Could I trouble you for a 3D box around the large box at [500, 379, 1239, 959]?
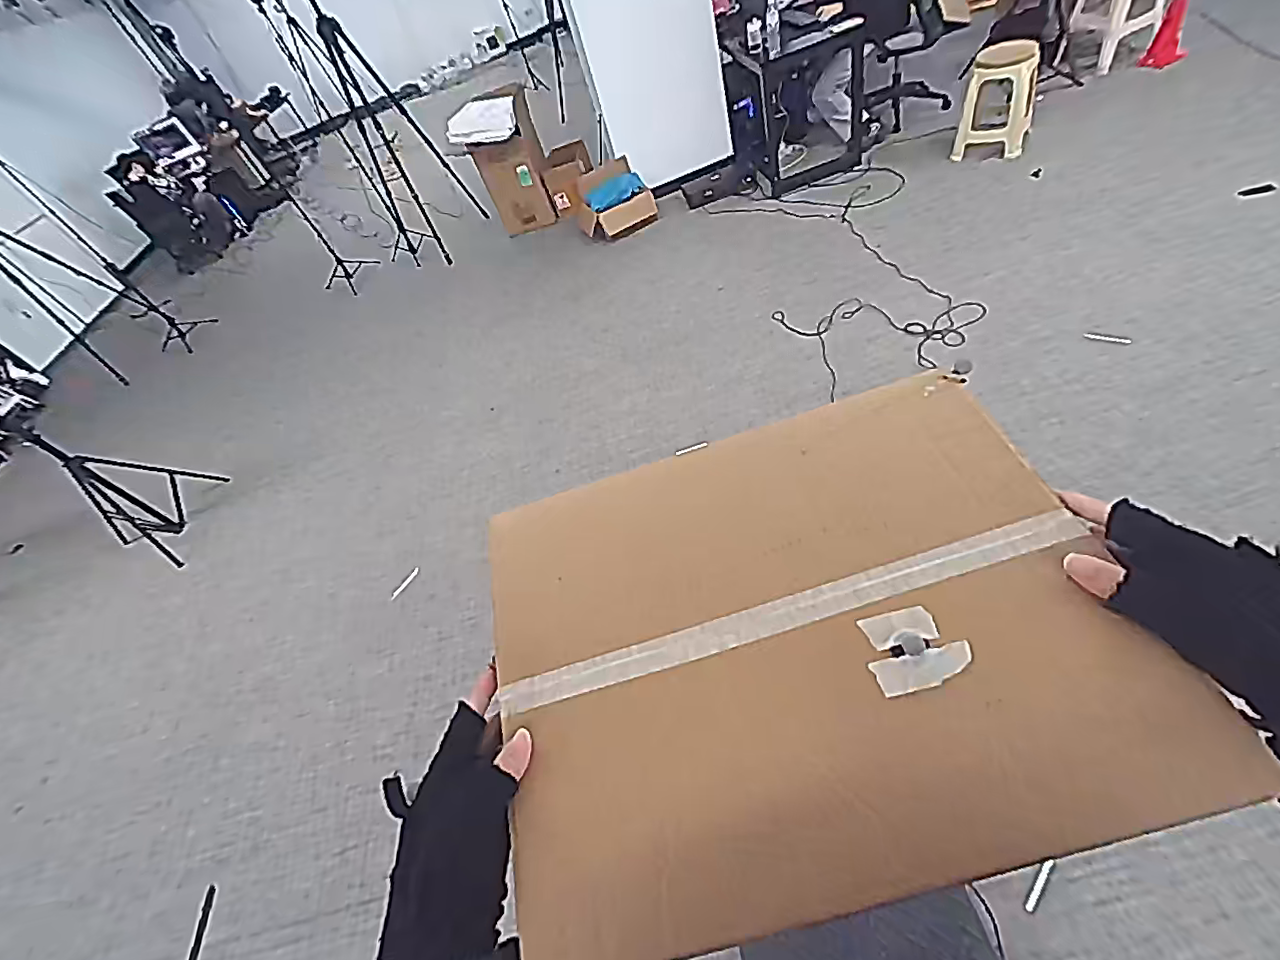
[{"bbox_3d":[0.130,0.176,0.501,0.408,0.320,0.320,-18,56,3],"label":"large box"}]
